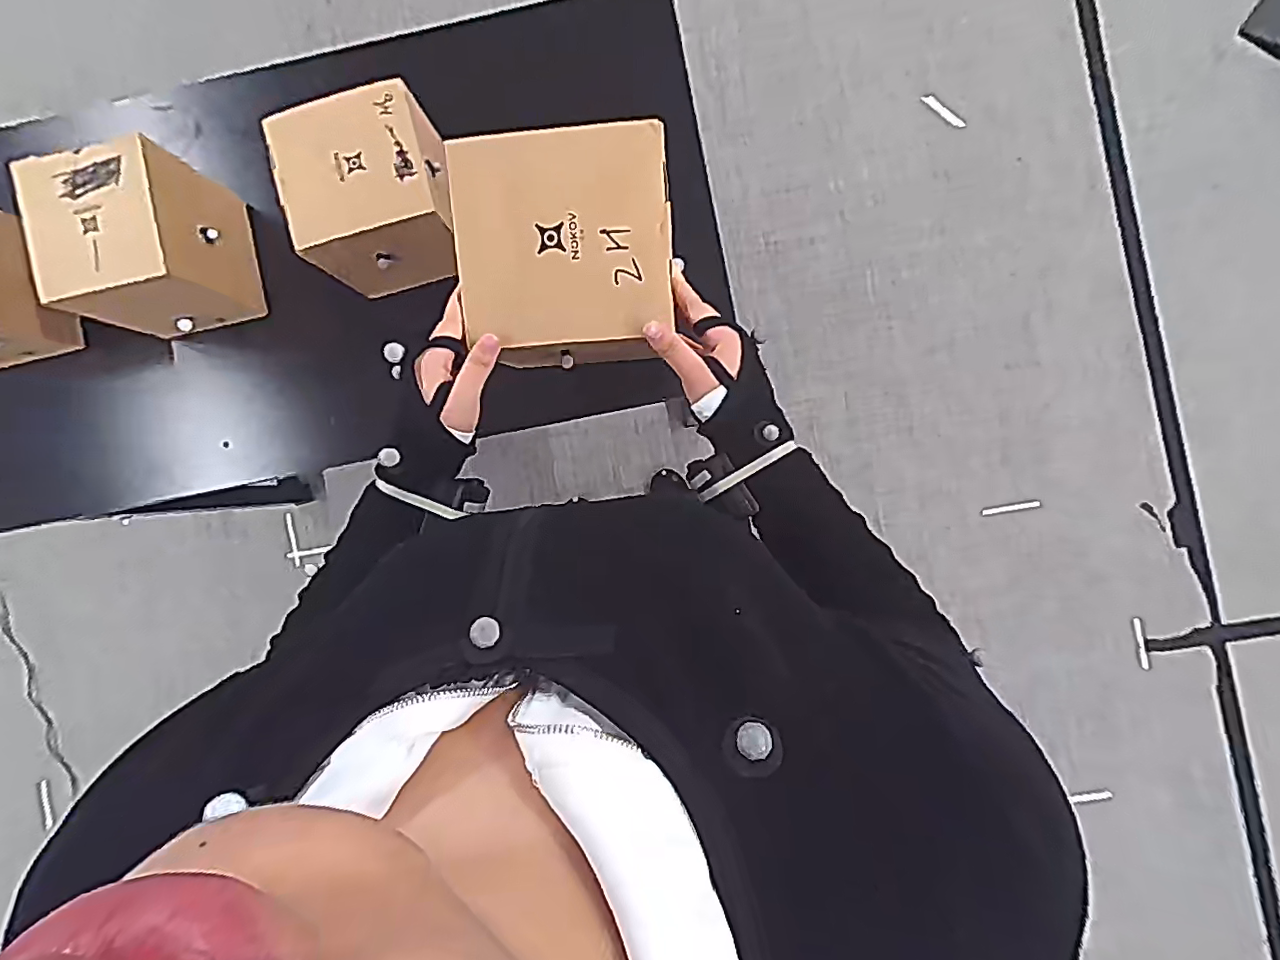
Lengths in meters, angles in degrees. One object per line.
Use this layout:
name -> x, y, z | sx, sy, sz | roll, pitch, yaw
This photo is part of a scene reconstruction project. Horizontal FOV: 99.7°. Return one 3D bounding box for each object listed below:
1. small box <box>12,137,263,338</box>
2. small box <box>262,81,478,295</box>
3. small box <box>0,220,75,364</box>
small box -> -0.654, -0.310, 0.725 | 0.168, 0.176, 0.179 | -12, 90, 2
small box -> -0.341, -0.366, 0.714 | 0.179, 0.176, 0.168 | -16, 89, 3
small box -> -0.937, -0.264, 0.737 | 0.168, 0.176, 0.179 | -13, 89, 1
